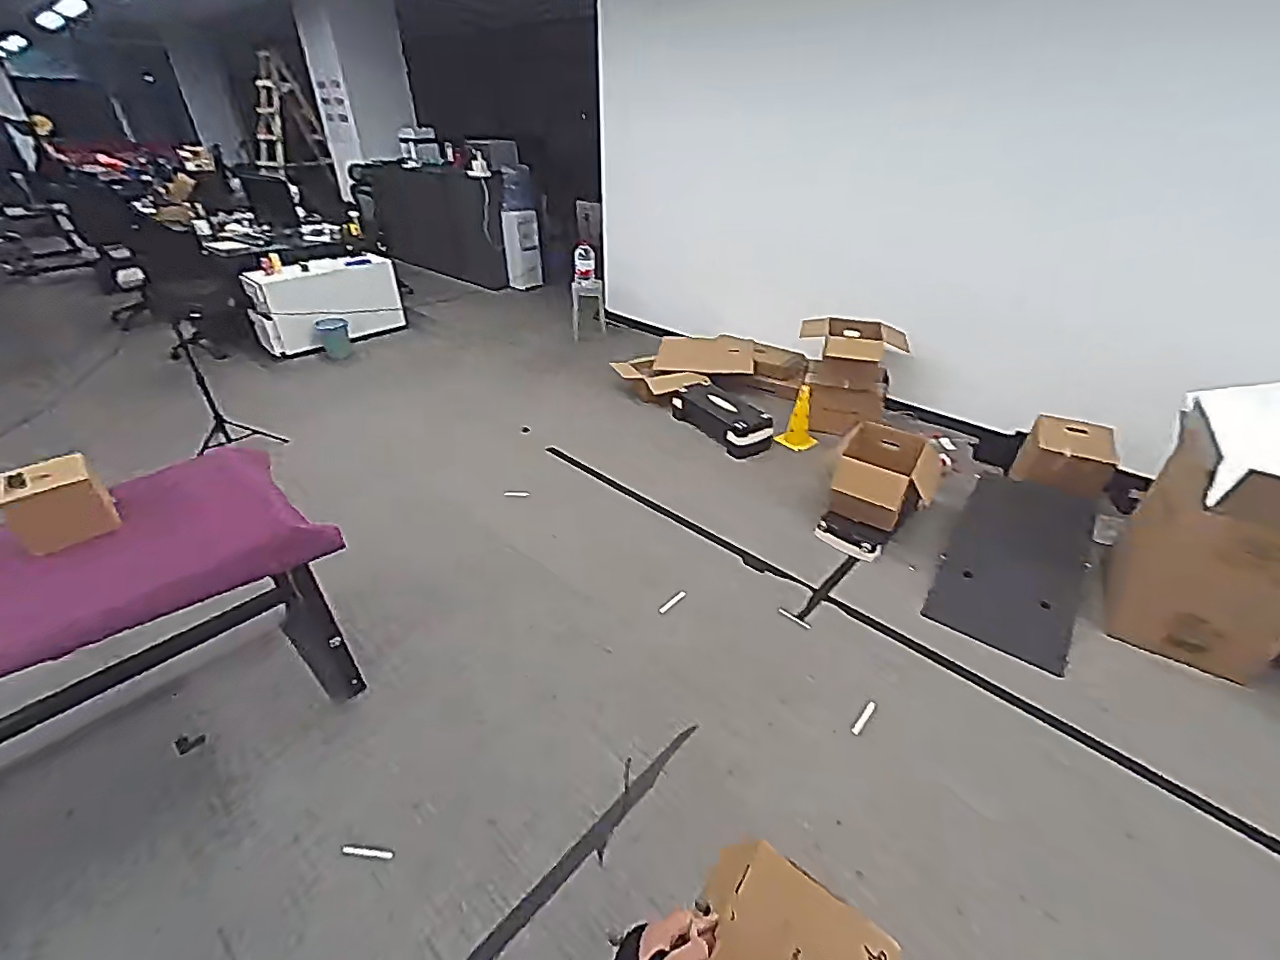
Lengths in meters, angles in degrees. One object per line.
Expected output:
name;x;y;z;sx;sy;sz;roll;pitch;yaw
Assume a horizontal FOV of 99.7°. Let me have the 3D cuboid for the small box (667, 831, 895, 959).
small box;0.145;0.540;0.611;0.179;0.176;0.168;31;56;16
